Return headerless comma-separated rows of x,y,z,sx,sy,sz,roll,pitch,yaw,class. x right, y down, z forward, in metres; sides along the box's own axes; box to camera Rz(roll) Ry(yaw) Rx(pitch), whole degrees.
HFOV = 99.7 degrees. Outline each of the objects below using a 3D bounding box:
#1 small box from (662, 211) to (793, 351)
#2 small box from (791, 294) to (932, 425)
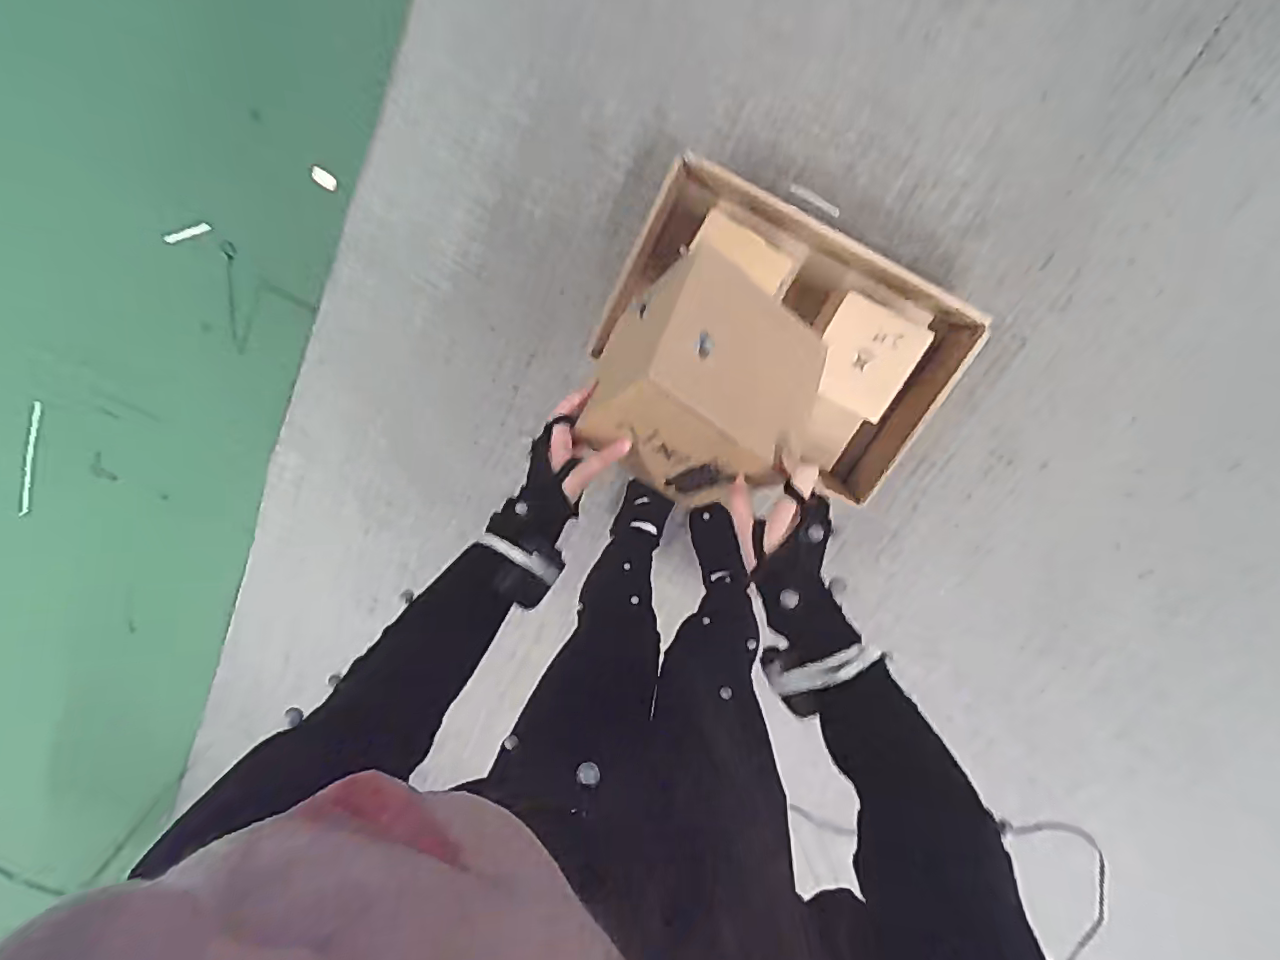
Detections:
0.161,-0.364,1.012,0.168,0.176,0.179,32,108,-3,small box
0.400,-0.230,1.017,0.168,0.176,0.179,28,109,-1,small box
